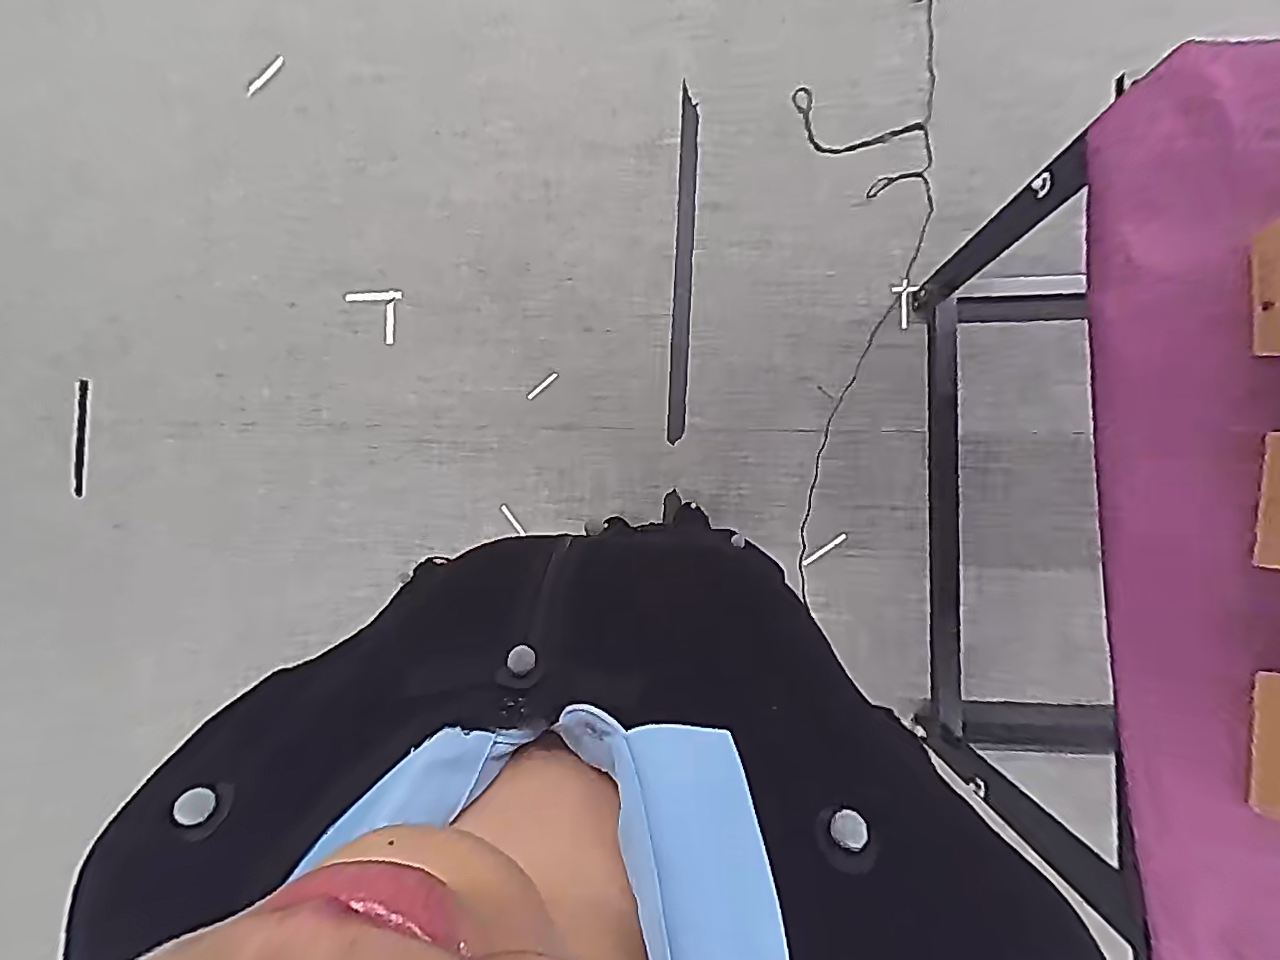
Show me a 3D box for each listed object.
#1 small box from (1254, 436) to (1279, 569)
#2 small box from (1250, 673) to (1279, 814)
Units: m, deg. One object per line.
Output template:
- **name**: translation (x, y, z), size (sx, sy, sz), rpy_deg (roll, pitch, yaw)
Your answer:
- **small box**: translation (0.875, 0.032, 0.615), size (0.168, 0.176, 0.179), rpy_deg (9, 88, 5)
- **small box**: translation (0.853, 0.331, 0.604), size (0.168, 0.176, 0.179), rpy_deg (5, 88, 3)
